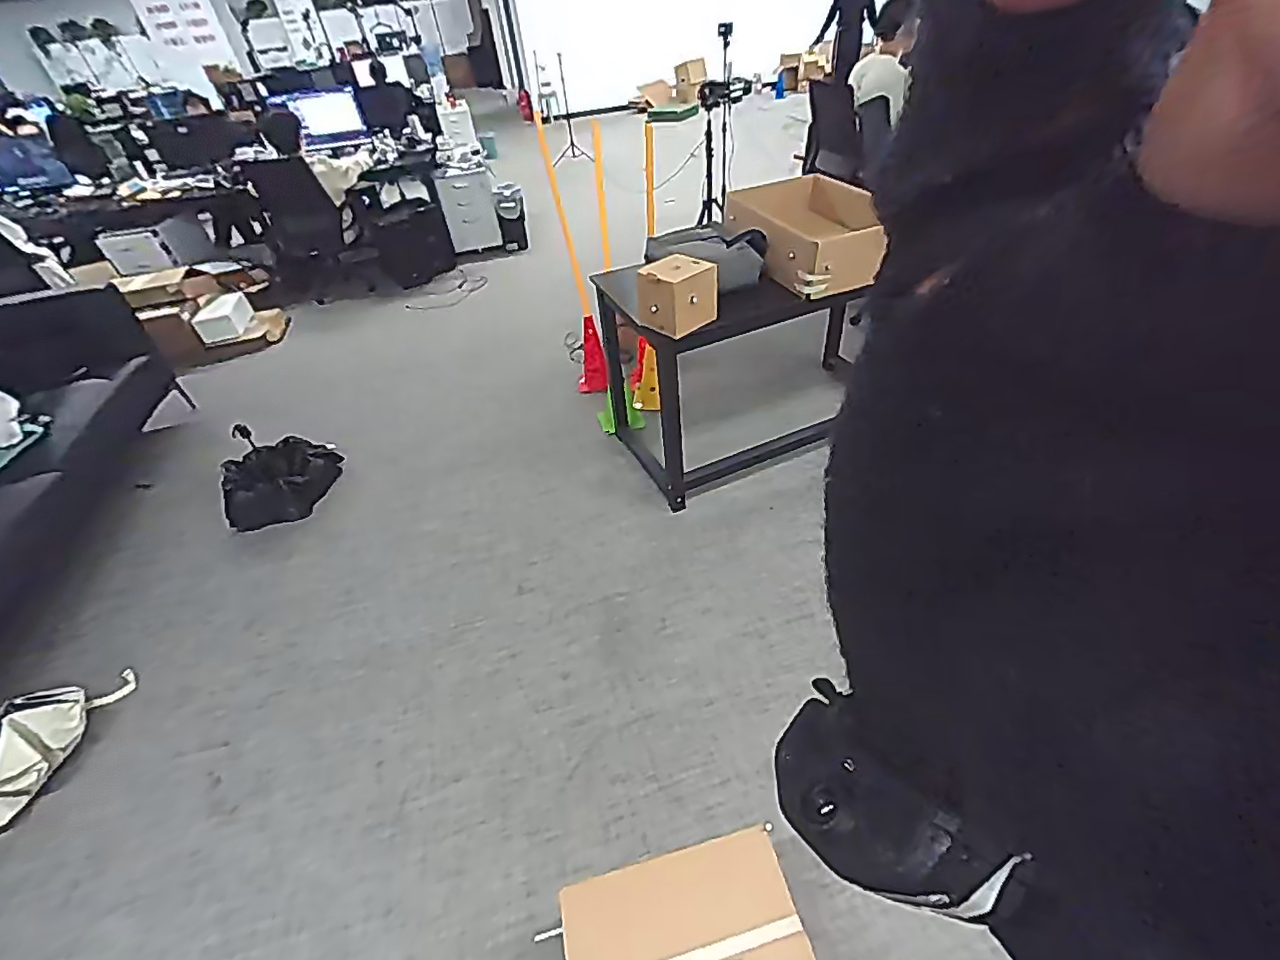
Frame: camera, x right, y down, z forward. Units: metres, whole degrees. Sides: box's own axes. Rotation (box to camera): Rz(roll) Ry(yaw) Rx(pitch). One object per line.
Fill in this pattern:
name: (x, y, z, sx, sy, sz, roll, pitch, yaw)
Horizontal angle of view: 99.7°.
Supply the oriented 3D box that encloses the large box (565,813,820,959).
large box: (0.101, 0.900, 1.011, 0.408, 0.320, 0.320, -14, 43, -6)
